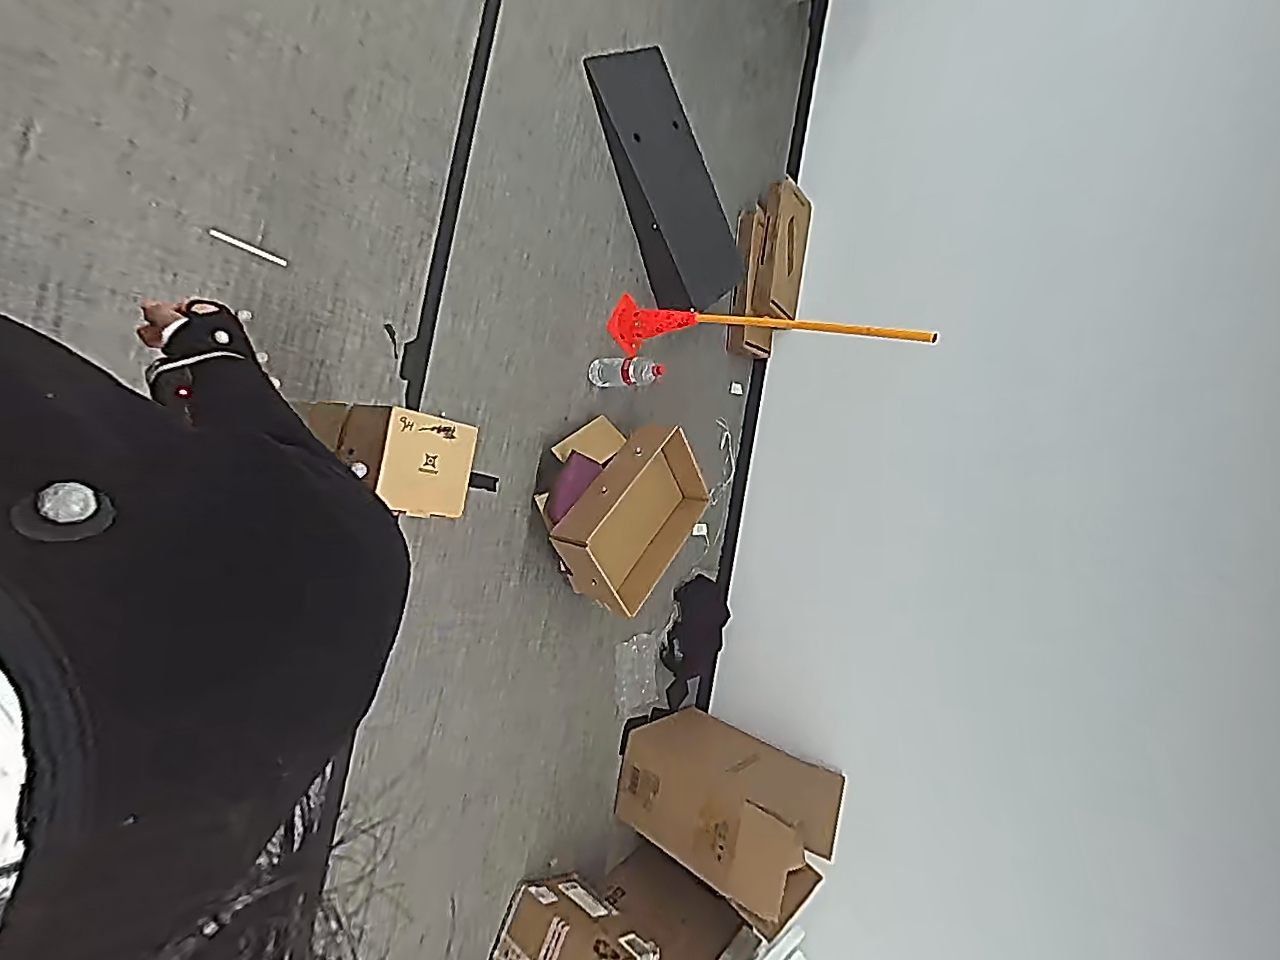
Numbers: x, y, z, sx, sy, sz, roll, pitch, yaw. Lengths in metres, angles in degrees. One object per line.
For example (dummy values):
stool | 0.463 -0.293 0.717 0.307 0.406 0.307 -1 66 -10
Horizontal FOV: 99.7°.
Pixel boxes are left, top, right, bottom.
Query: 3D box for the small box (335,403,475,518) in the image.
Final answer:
small box | -0.436 -0.036 0.996 0.168 0.176 0.179 14 86 -50

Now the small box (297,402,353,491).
small box | -0.563 -0.056 1.098 0.179 0.176 0.168 14 86 -51

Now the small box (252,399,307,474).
small box | -0.810 -0.091 1.309 0.168 0.176 0.179 15 84 -50

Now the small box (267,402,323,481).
small box | -0.688 -0.073 1.200 0.179 0.176 0.168 15 83 -49
